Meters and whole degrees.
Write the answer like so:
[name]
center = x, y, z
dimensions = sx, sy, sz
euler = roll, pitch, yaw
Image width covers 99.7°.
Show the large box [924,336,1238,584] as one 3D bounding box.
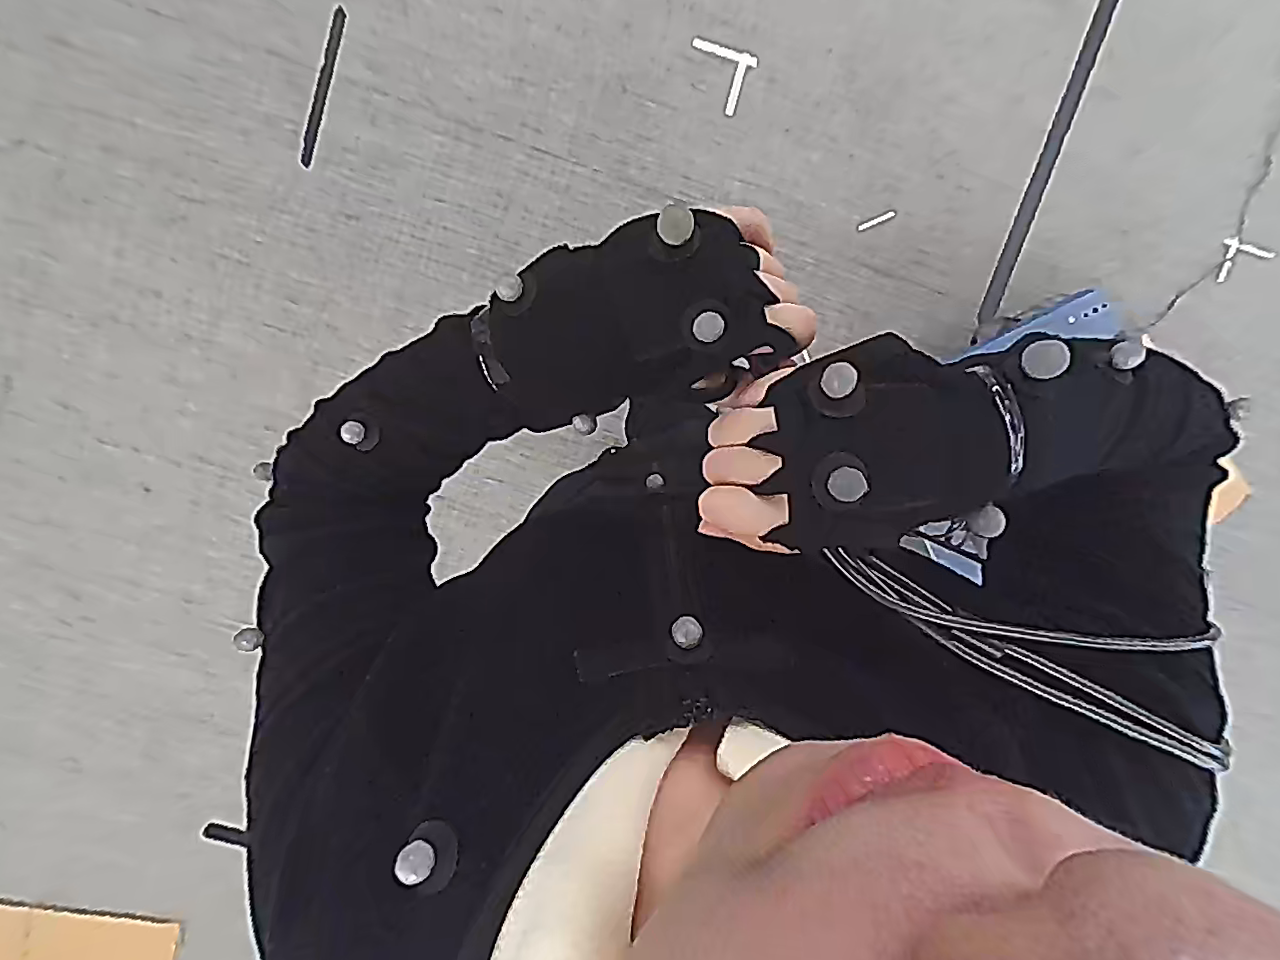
[large box]
center = 0.941, -0.050, 1.202
dimensions = 0.320, 0.320, 0.408
euler = -39, 97, 2
